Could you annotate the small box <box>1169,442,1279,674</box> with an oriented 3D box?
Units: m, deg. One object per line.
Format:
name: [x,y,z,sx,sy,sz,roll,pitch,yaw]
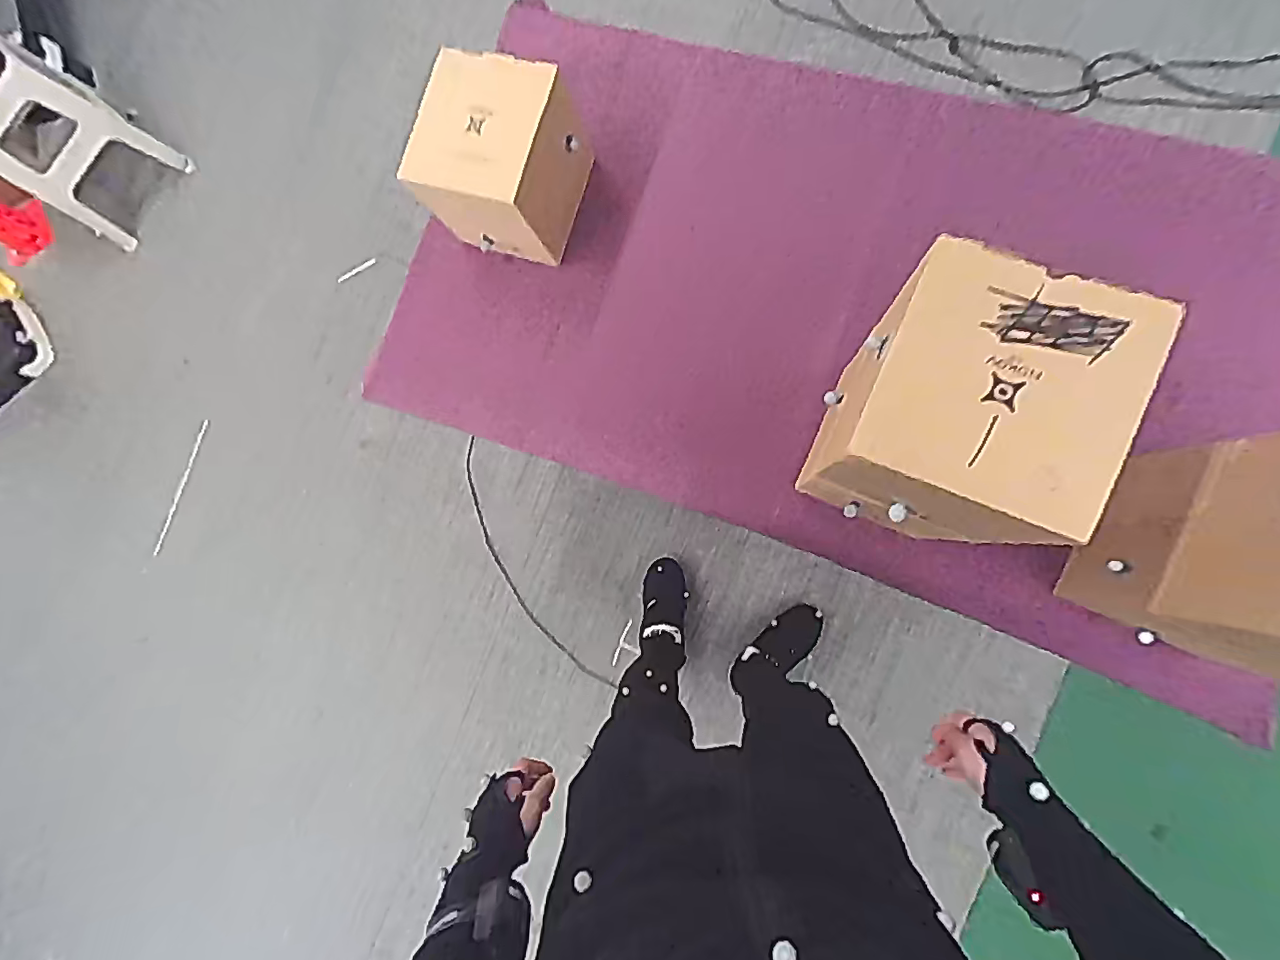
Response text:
small box: [0.549,0.069,0.384,0.168,0.176,0.179,25,89,13]

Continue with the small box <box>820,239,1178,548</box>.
small box: [0.266,-0.057,0.452,0.168,0.176,0.179,24,89,12]

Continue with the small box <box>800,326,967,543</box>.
small box: [0.293,-0.040,0.613,0.168,0.176,0.179,24,88,12]

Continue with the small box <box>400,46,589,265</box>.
small box: [-0.182,-0.426,0.732,0.168,0.176,0.179,19,90,12]
